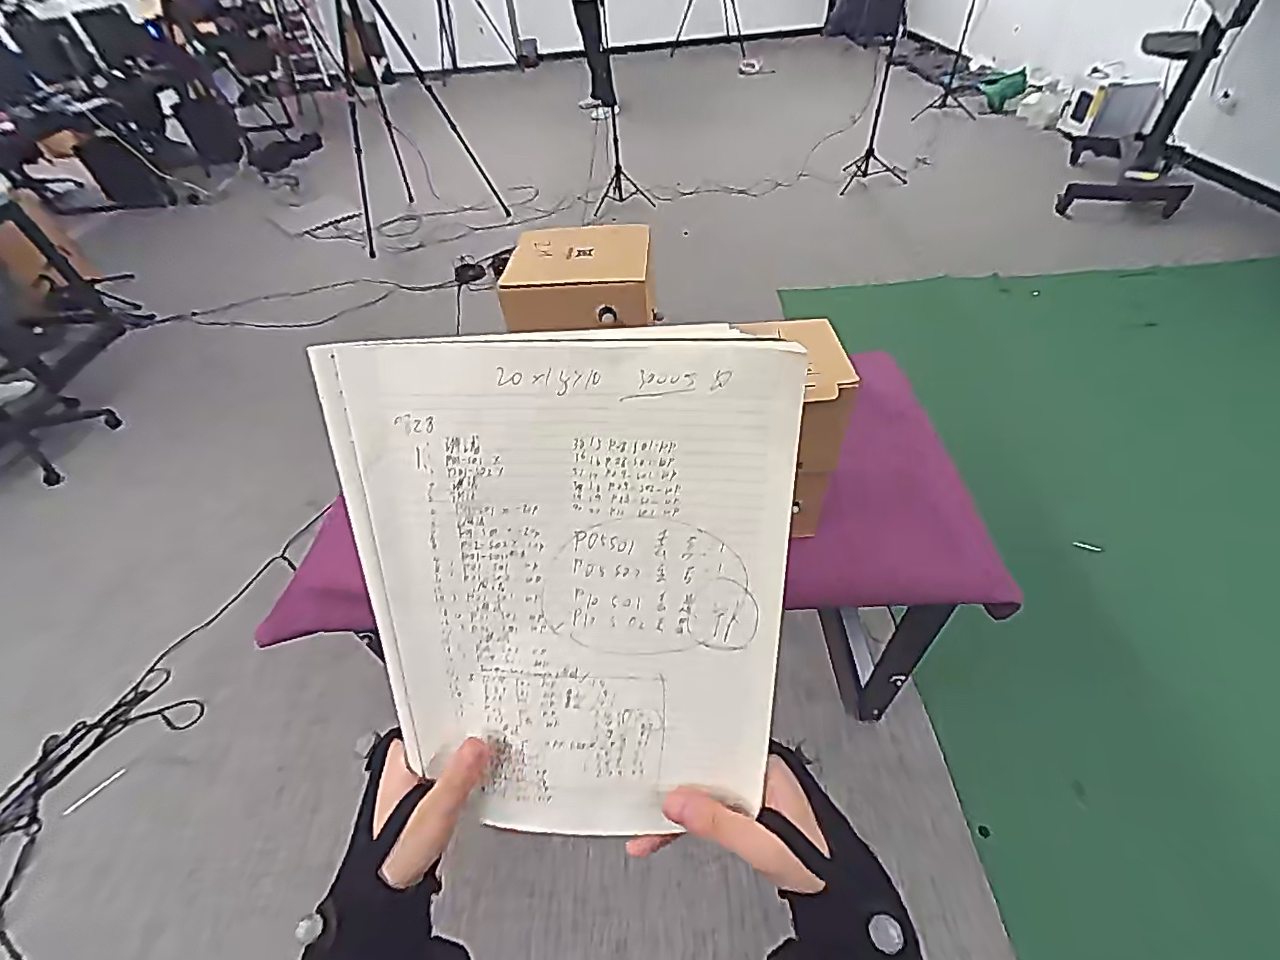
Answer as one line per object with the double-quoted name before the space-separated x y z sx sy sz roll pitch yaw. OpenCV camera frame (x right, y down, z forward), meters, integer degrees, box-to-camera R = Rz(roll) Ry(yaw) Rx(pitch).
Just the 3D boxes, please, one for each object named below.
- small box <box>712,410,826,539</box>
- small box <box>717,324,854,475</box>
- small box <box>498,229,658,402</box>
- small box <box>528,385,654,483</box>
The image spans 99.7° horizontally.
"small box" 0.217 -0.009 0.957 0.168 0.176 0.179 -1 45 3
"small box" 0.211 -0.120 0.836 0.168 0.176 0.179 -2 45 2
"small box" -0.067 -0.217 0.726 0.179 0.176 0.168 -1 45 5
"small box" -0.065 -0.107 0.849 0.168 0.176 0.179 -2 45 4
